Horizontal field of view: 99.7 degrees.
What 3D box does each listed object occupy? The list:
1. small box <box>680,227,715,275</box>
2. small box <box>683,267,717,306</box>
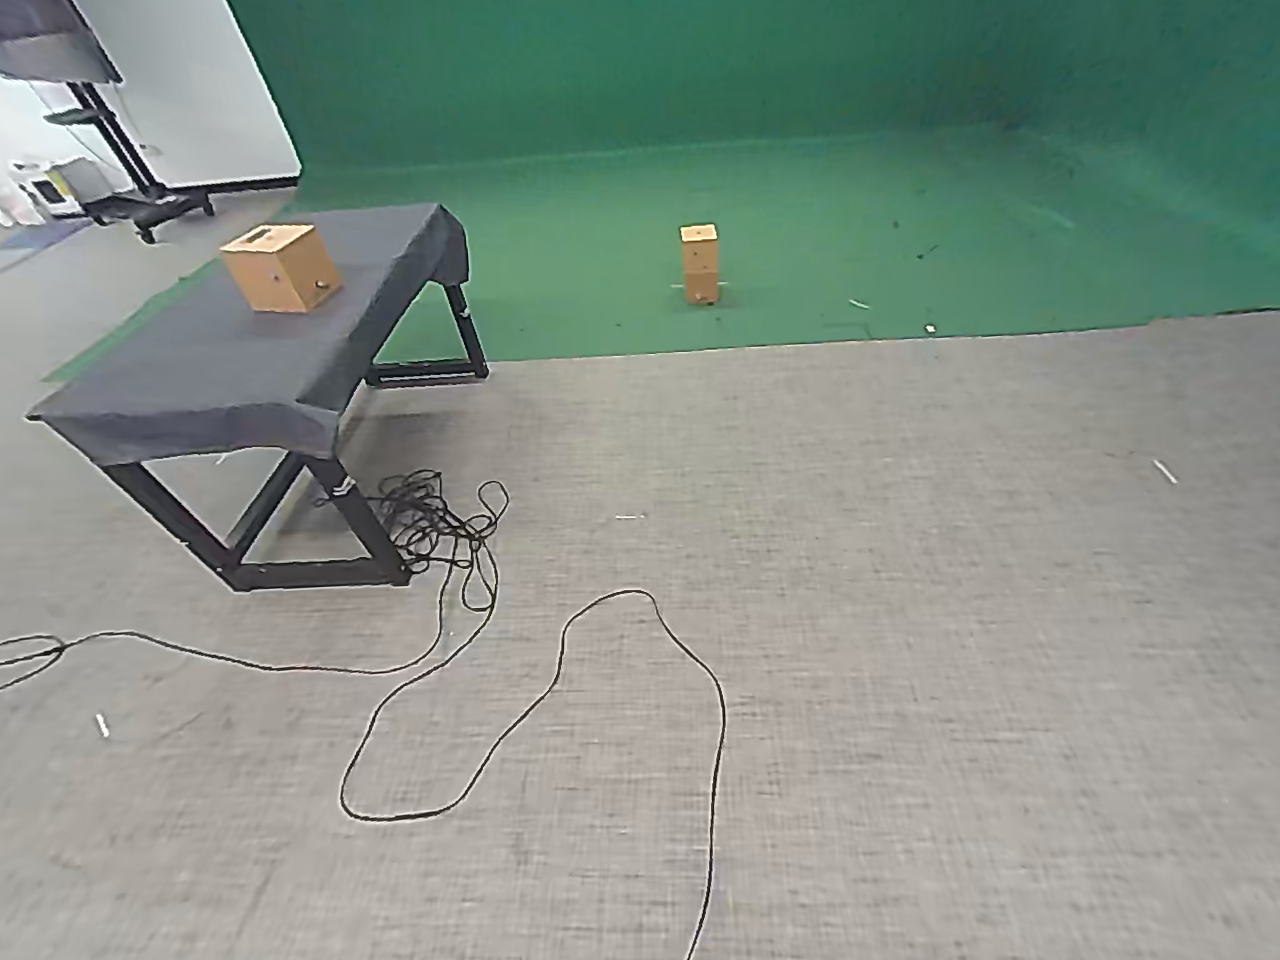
[{"bbox_3d":[0.287,-1.135,2.692,0.168,0.176,0.179,-4,44,3],"label":"small box"},{"bbox_3d":[0.309,-1.025,2.810,0.168,0.176,0.179,-4,46,4],"label":"small box"}]
